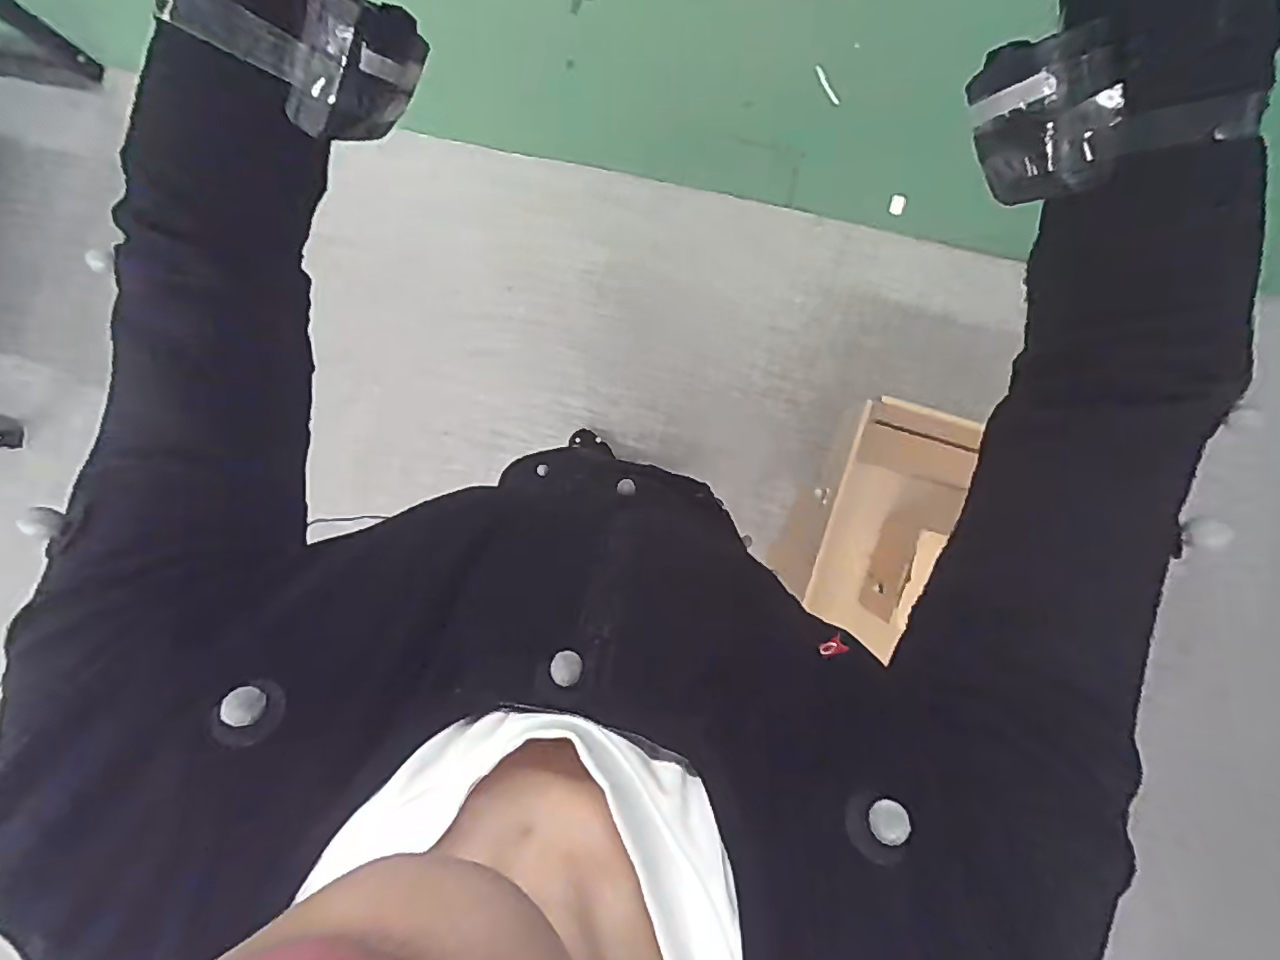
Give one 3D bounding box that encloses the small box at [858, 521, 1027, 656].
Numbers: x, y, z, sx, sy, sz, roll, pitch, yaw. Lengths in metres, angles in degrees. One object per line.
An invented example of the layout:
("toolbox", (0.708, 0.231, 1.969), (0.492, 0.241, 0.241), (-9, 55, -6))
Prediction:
("small box", (0.504, 0.174, 0.931), (0.179, 0.176, 0.168), (17, 93, 2))
